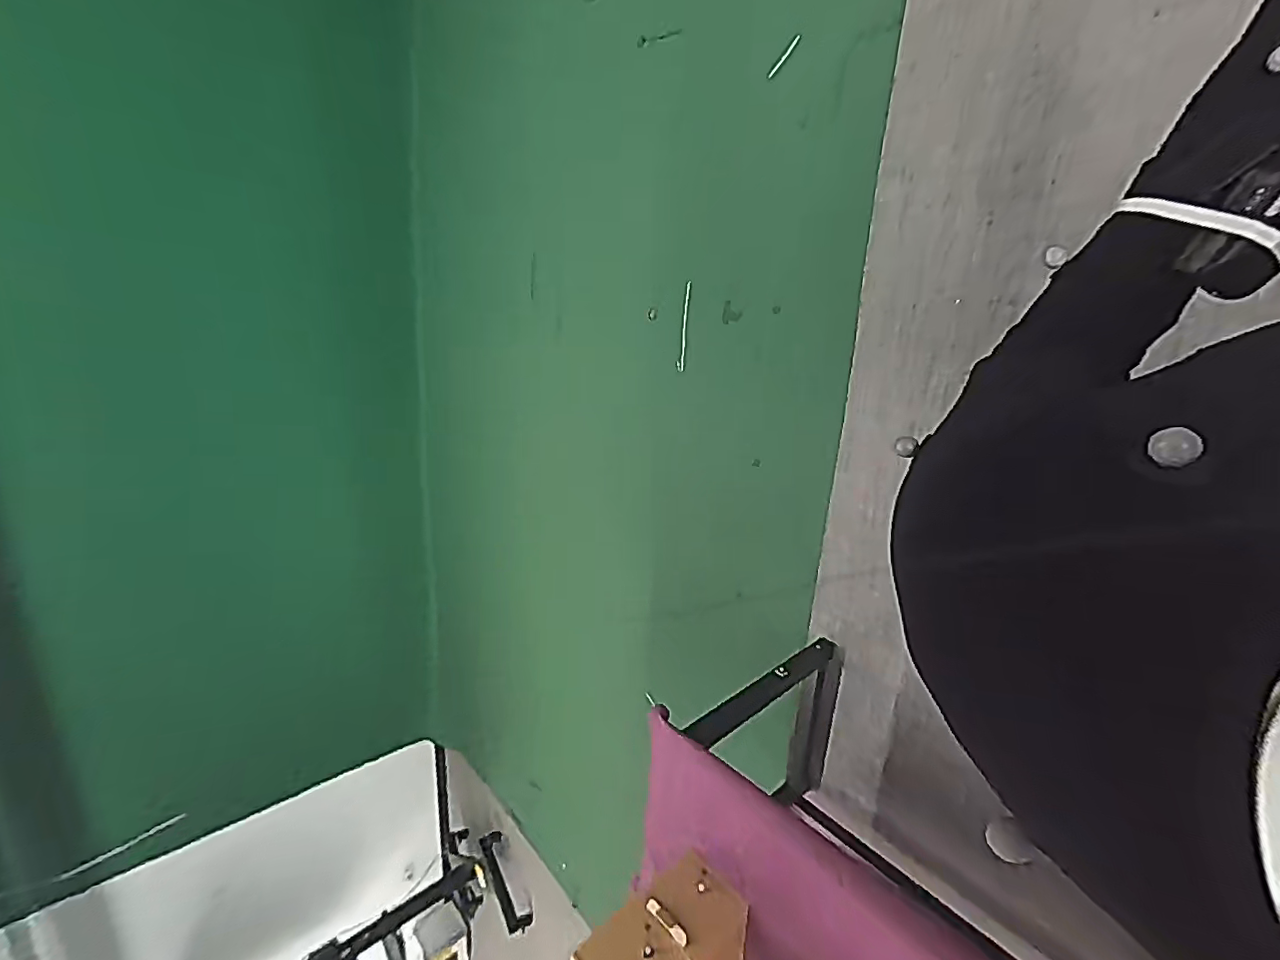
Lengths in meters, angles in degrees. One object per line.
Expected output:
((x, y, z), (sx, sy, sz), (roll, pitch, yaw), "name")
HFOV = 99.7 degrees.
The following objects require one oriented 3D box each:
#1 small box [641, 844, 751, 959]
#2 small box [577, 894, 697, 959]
((0.116, 0.929, 1.134), (0.168, 0.176, 0.179), (16, 111, 44), "small box")
((-0.005, 0.958, 1.028), (0.168, 0.176, 0.179), (17, 111, 44), "small box")
